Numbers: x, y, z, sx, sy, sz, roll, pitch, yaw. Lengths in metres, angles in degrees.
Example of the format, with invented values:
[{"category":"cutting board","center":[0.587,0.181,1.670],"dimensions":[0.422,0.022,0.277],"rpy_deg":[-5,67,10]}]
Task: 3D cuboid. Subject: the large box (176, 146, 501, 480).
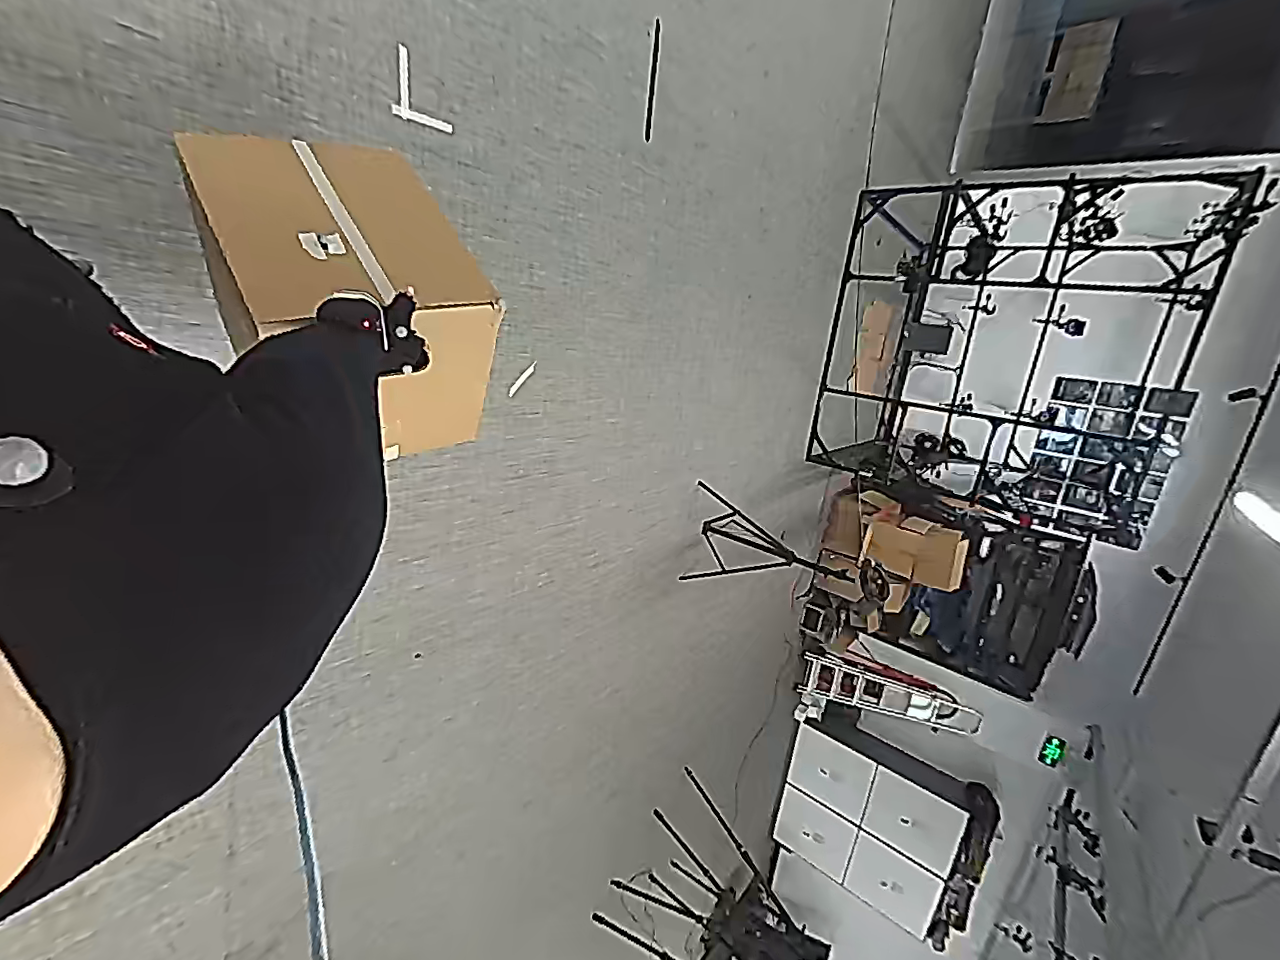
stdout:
[{"category":"large box","center":[-0.489,-0.274,0.898],"dimensions":[0.320,0.408,0.320],"rpy_deg":[-21,156,-37]}]
